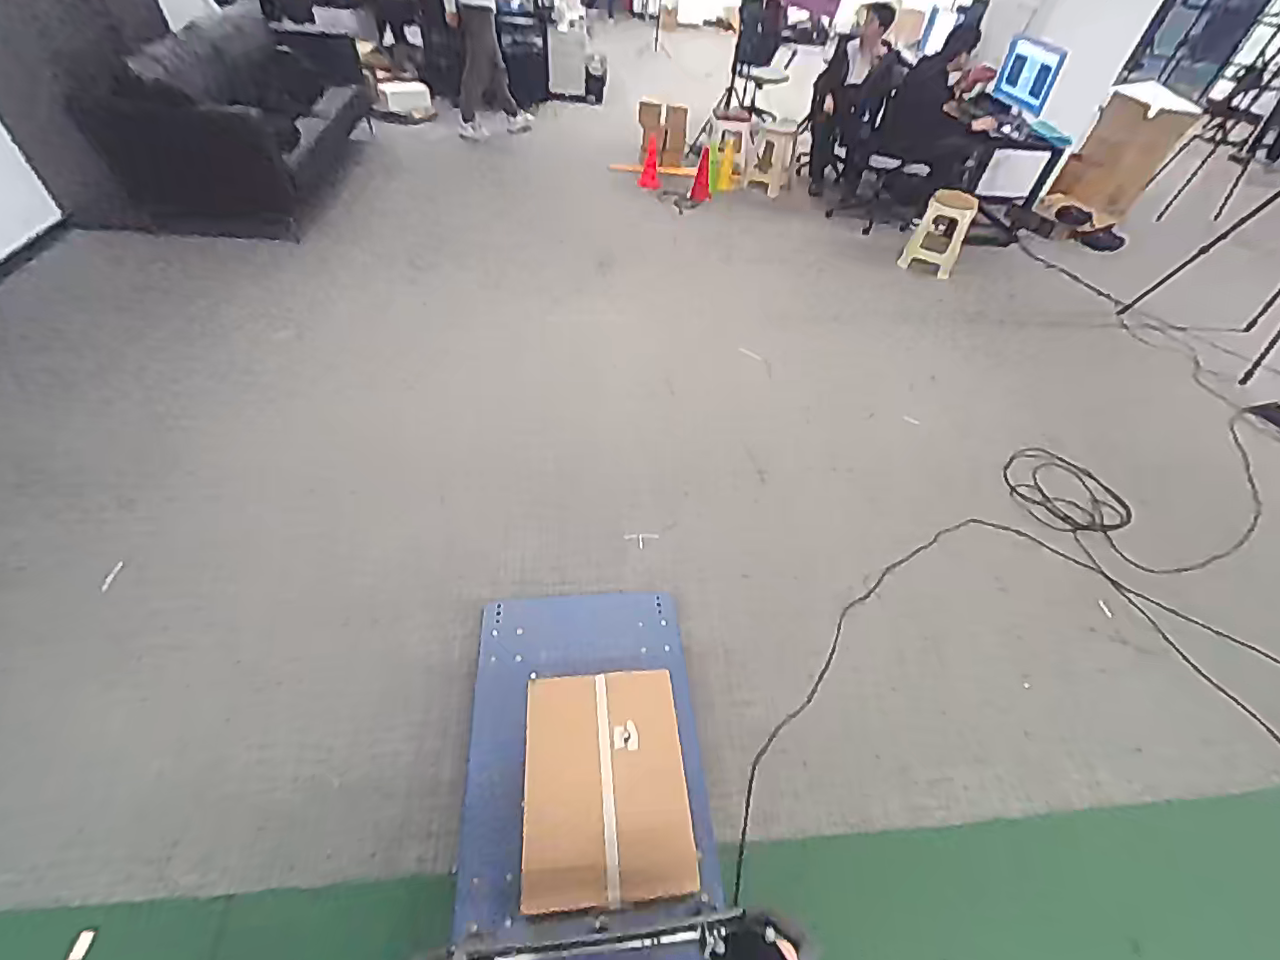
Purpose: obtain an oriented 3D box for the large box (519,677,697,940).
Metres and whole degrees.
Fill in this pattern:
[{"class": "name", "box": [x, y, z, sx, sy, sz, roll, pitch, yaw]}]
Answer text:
[{"class": "large box", "box": [-0.088, 0.695, 1.162, 0.320, 0.320, 0.408, -1, 46, -9]}]
